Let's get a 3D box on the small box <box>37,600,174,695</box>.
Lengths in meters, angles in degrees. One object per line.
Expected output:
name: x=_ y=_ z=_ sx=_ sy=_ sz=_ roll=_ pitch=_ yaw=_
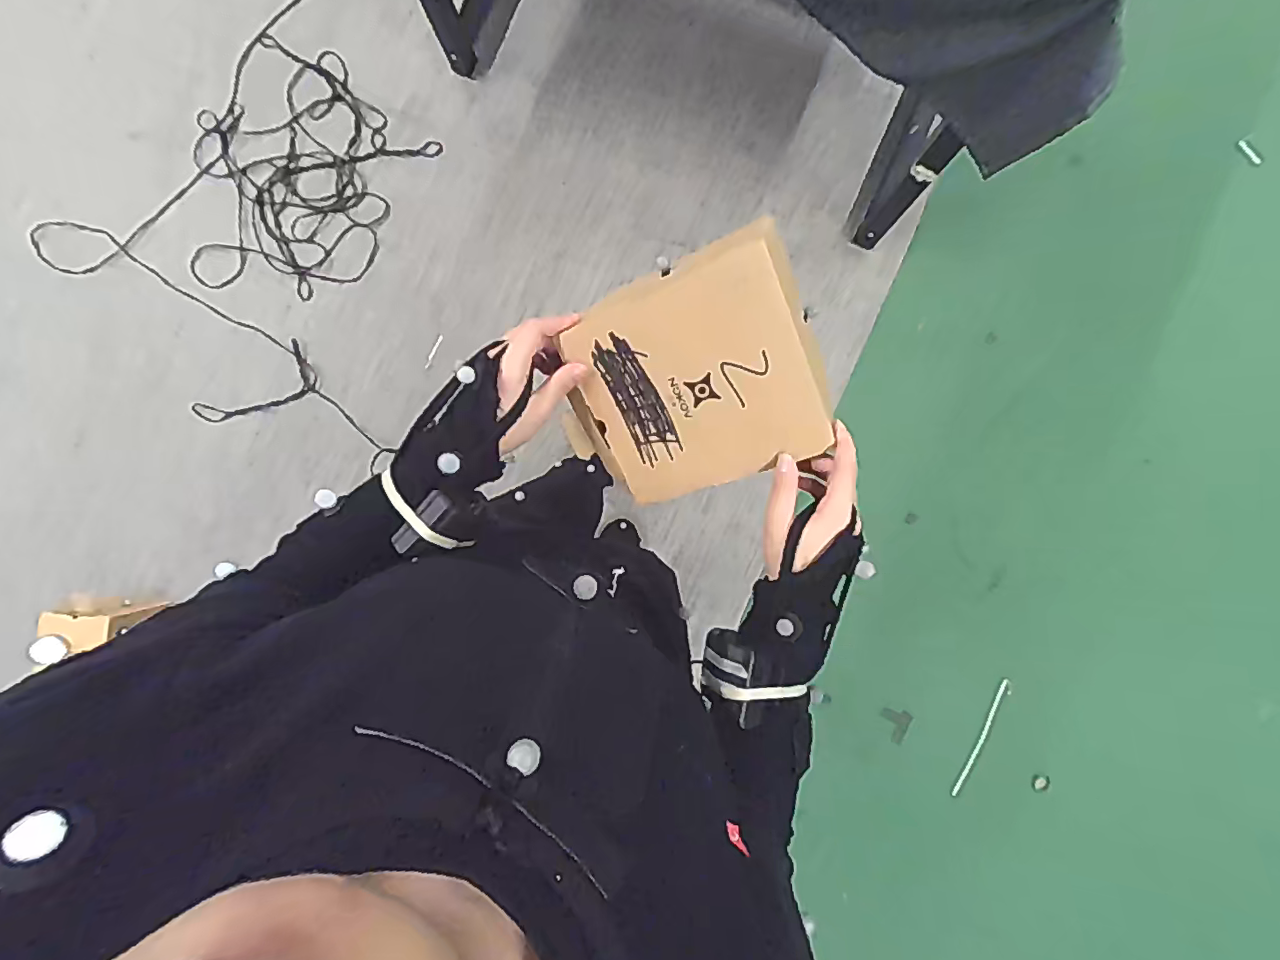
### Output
small box: x=-1.282 y=0.398 z=1.309 sx=0.168 sy=0.176 sz=0.179 roll=4 pitch=88 yaw=1
